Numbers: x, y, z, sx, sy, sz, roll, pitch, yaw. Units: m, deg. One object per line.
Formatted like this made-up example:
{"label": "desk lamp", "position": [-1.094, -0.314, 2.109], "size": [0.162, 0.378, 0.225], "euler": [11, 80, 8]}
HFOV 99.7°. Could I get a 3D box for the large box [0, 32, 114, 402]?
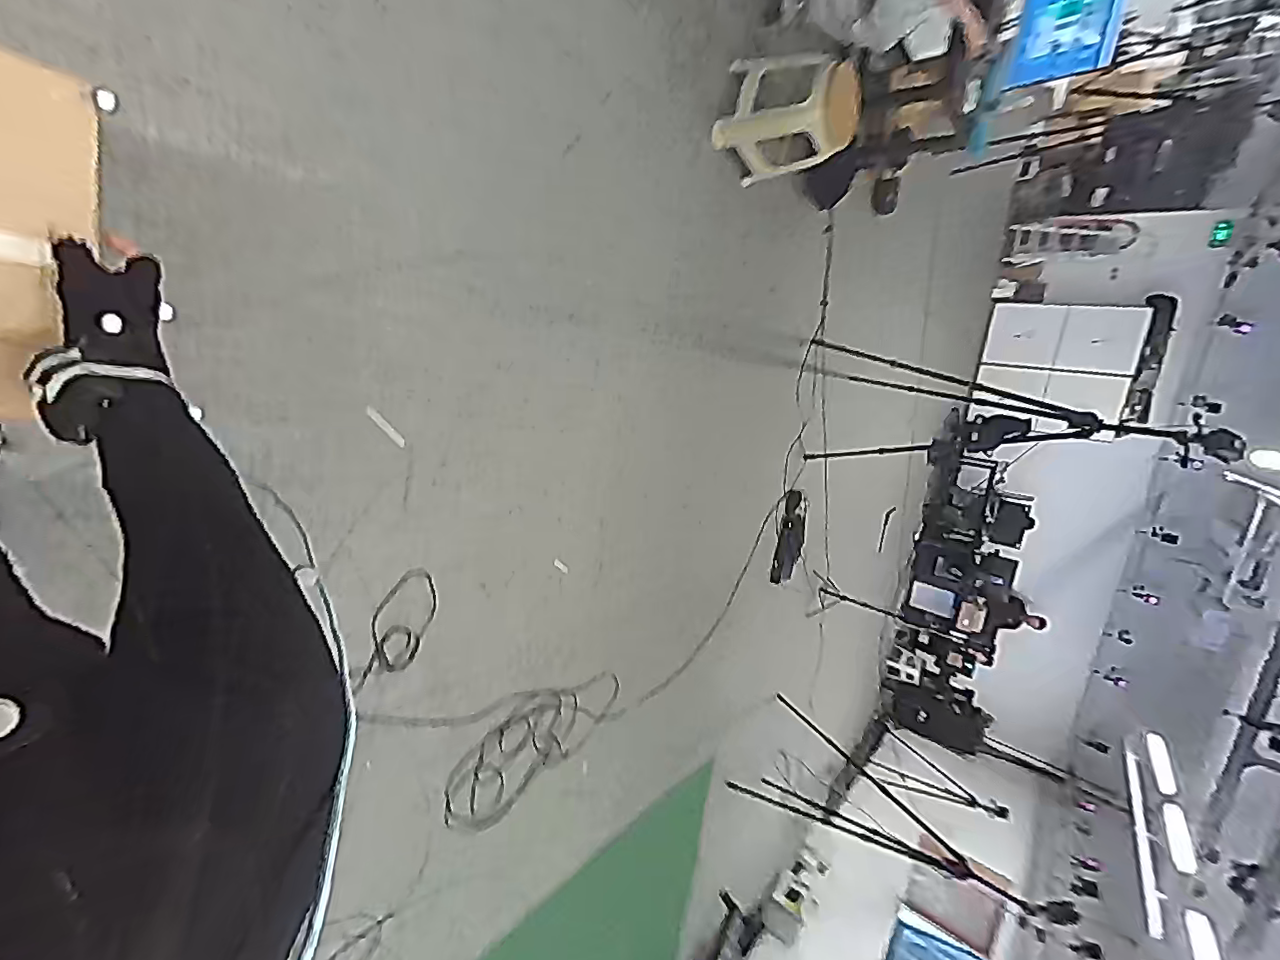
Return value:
{"label": "large box", "position": [-0.755, -0.250, 0.451], "size": [0.408, 0.320, 0.320], "euler": [-6, 111, -53]}
